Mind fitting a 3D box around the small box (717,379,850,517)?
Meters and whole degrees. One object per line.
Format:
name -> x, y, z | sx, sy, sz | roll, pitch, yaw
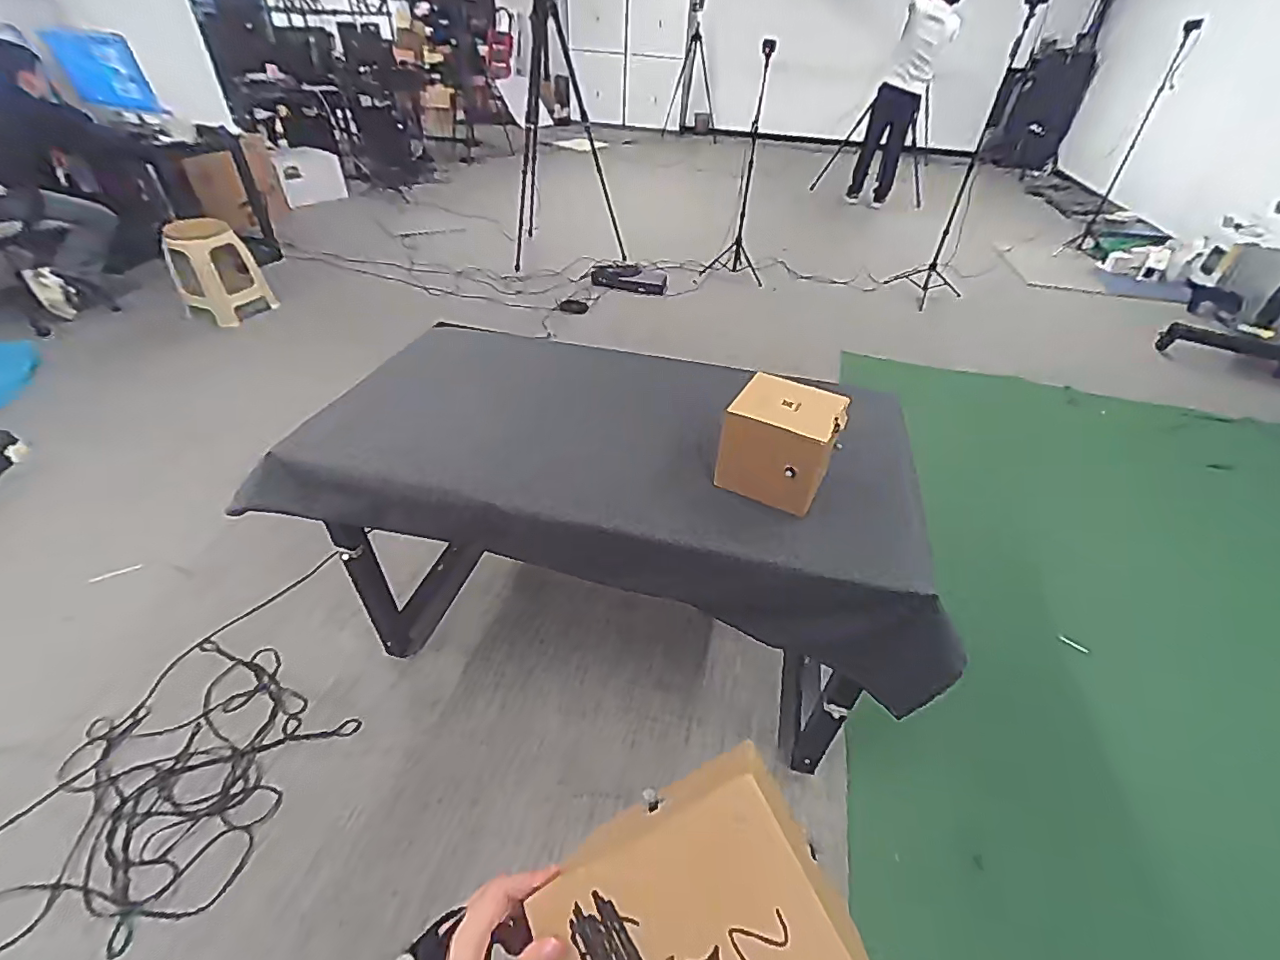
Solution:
small box -> 0.257, -0.056, 0.986 | 0.179, 0.176, 0.168 | 20, 42, 21
